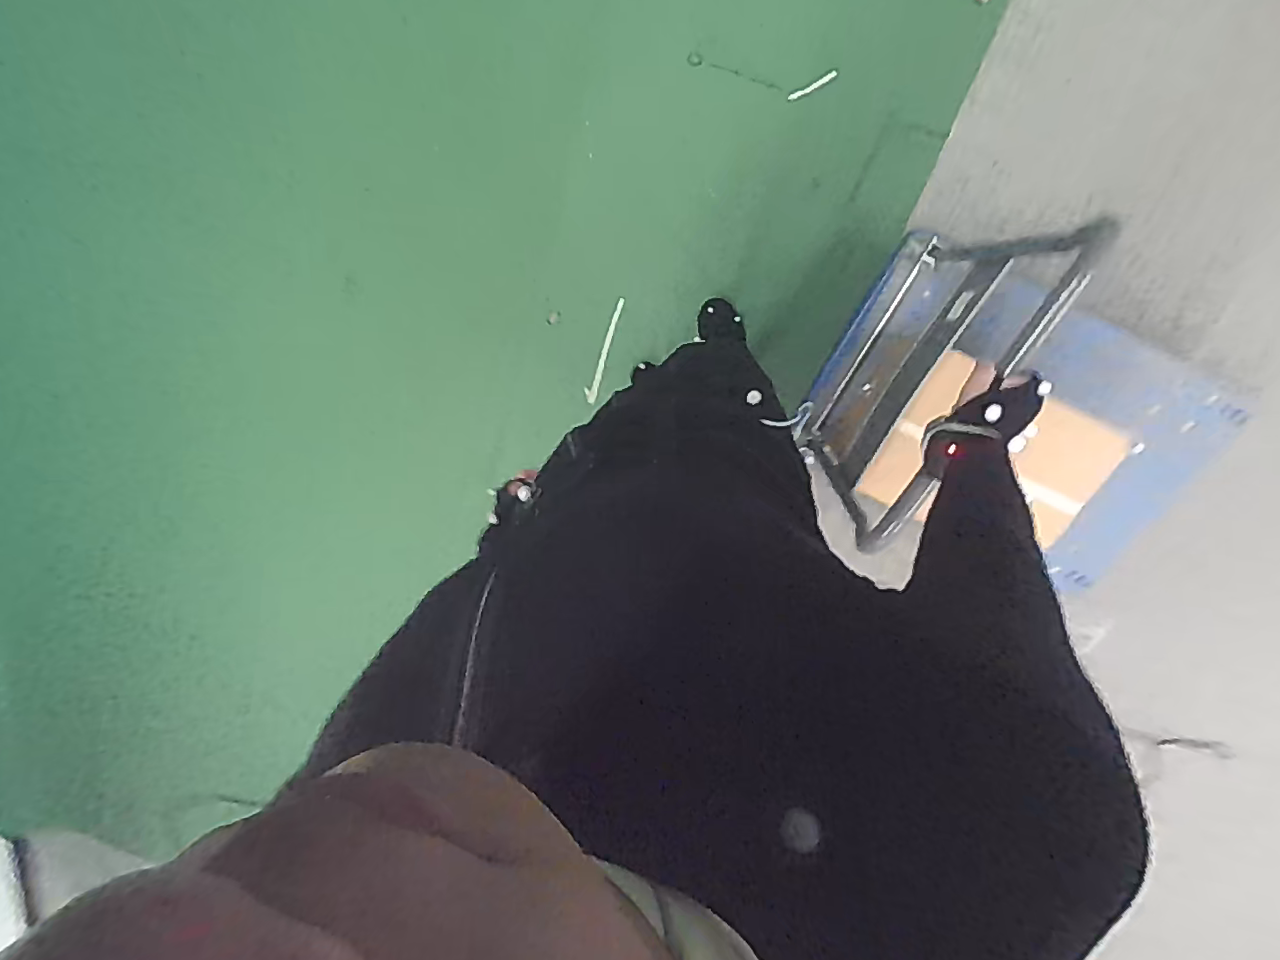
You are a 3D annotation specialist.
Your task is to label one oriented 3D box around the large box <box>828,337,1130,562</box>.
[{"bbox_3d":[0.690,-0.088,1.190,0.408,0.320,0.320,26,111,0],"label":"large box"}]
